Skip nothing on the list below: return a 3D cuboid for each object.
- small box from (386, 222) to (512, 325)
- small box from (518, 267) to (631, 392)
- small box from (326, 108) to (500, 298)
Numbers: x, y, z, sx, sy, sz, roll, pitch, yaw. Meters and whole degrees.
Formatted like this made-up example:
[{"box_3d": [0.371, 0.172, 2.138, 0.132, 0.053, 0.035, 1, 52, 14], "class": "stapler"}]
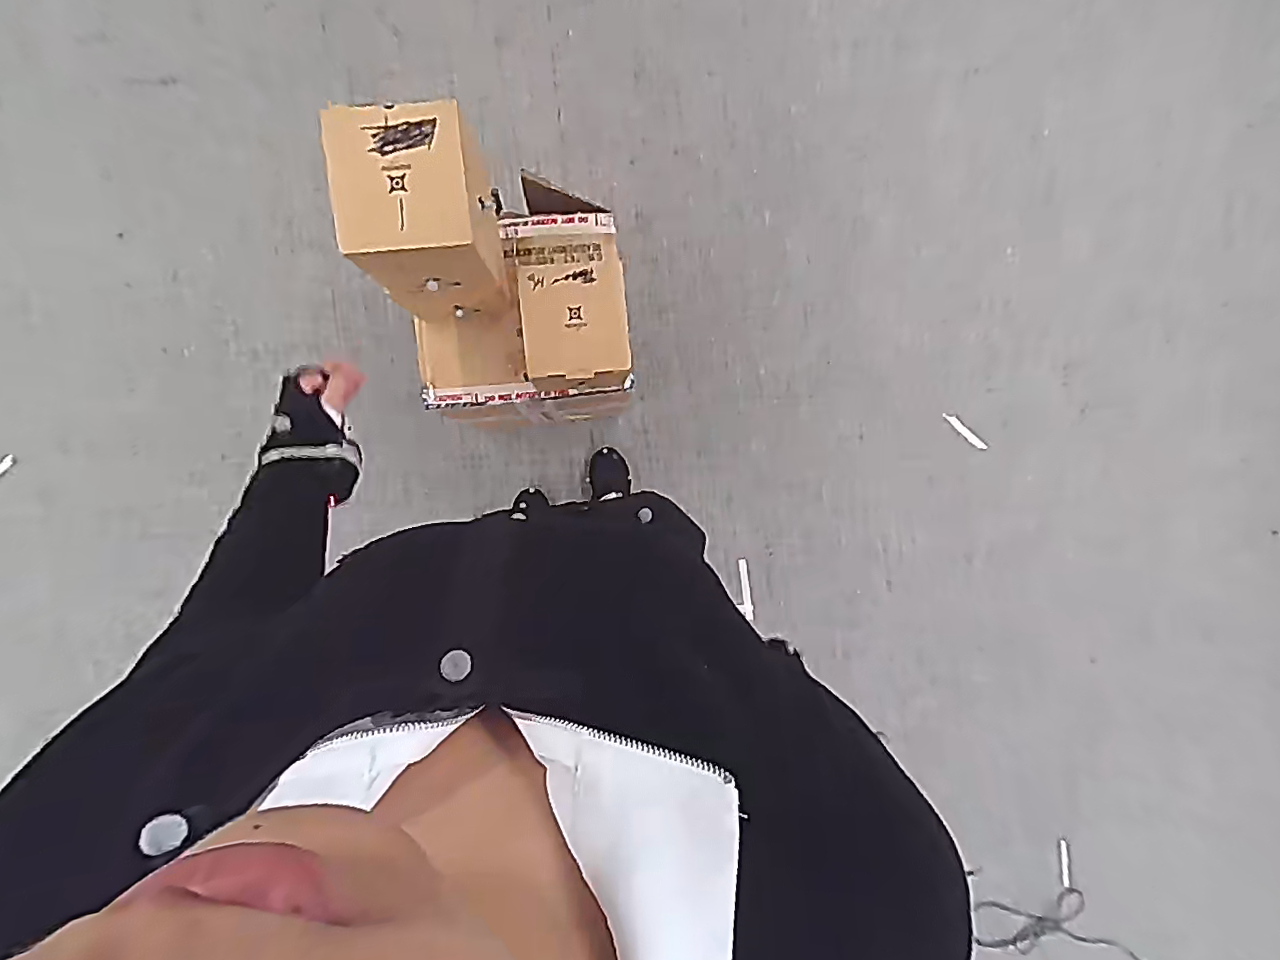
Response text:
[{"box_3d": [-0.321, -0.375, 0.903, 0.168, 0.176, 0.179, -9, 94, -2], "class": "small box"}, {"box_3d": [-0.107, -0.246, 0.923, 0.168, 0.176, 0.179, -6, 93, -5], "class": "small box"}, {"box_3d": [-0.296, -0.365, 0.740, 0.168, 0.176, 0.179, -6, 94, -2], "class": "small box"}]
